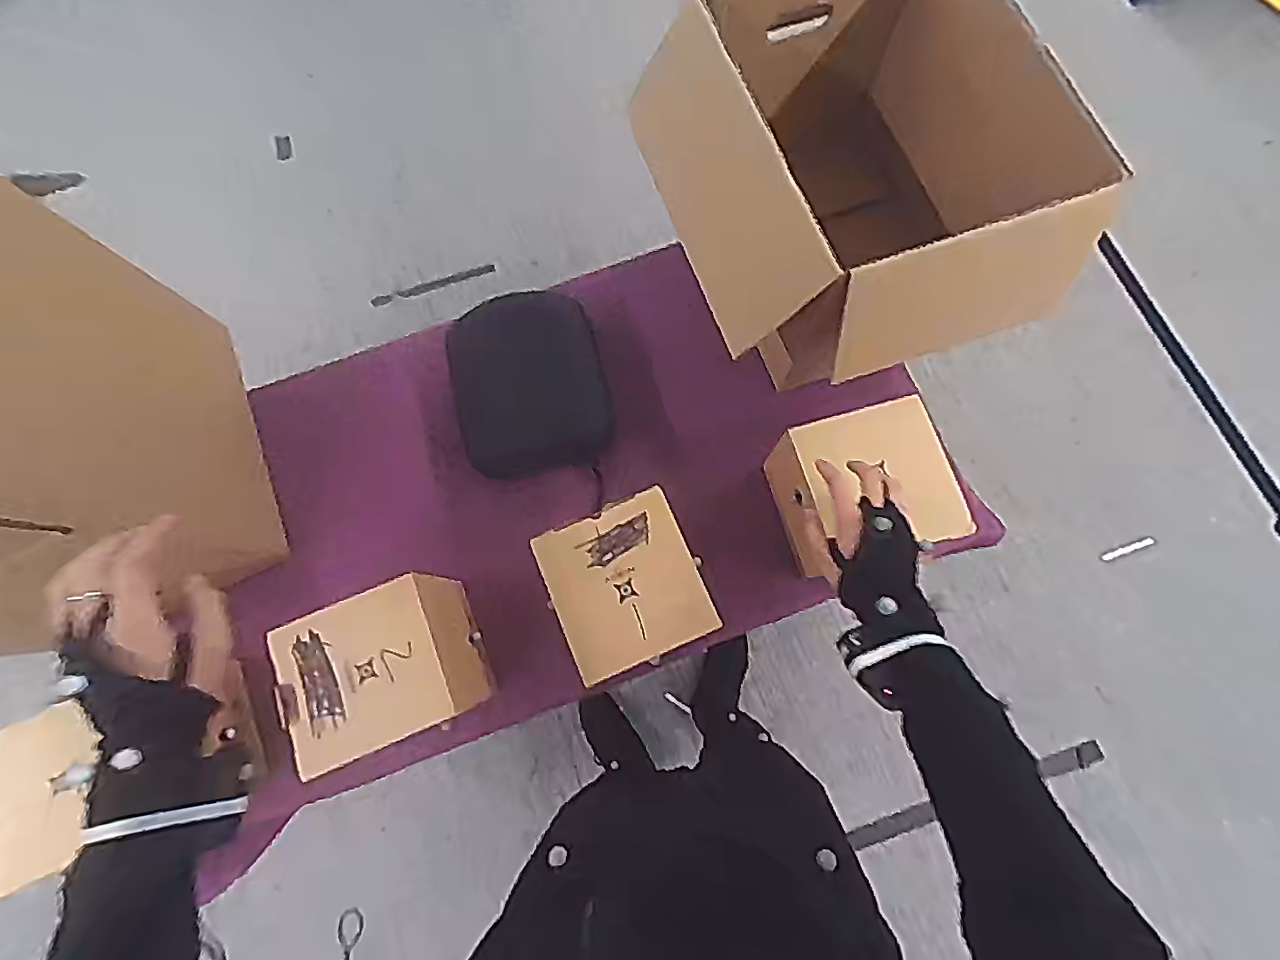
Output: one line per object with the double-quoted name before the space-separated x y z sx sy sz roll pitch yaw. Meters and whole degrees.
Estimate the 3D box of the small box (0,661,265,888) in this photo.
"small box" -0.610 0.336 0.656 0.179 0.176 0.168 -24 77 -5

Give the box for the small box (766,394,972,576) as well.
"small box" 0.276 0.016 0.699 0.168 0.176 0.179 -15 77 -1

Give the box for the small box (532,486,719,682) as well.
"small box" -0.017 0.131 0.684 0.168 0.176 0.179 -23 78 -3
